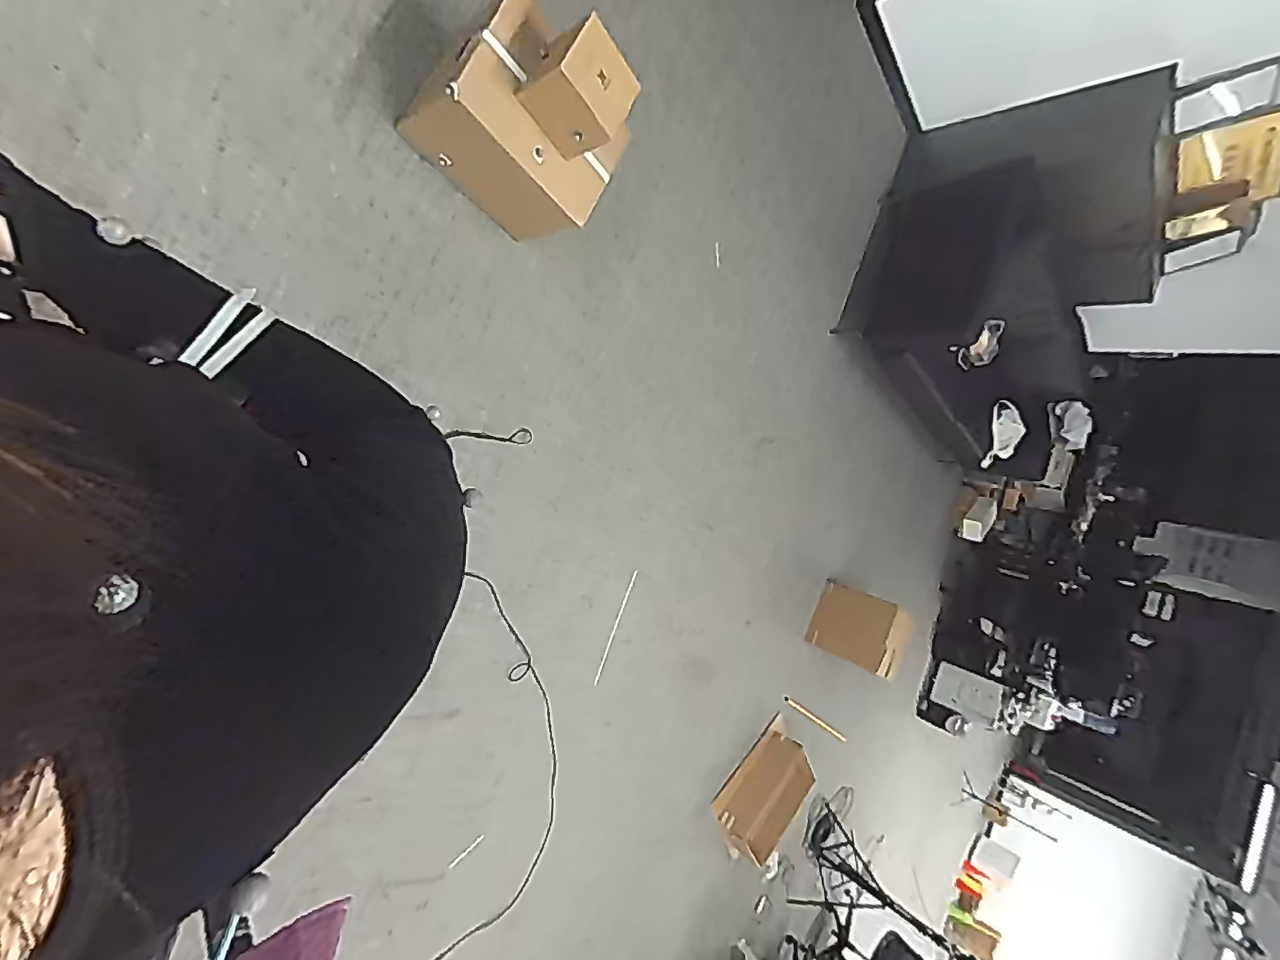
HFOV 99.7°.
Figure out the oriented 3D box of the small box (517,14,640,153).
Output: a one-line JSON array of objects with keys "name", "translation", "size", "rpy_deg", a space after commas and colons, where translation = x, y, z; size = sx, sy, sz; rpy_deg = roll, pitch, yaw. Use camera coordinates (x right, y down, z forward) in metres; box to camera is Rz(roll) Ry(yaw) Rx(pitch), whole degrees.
[{"name": "small box", "translation": [-0.138, -0.872, 1.216], "size": [0.179, 0.176, 0.168], "rpy_deg": [37, 72, -42]}]
